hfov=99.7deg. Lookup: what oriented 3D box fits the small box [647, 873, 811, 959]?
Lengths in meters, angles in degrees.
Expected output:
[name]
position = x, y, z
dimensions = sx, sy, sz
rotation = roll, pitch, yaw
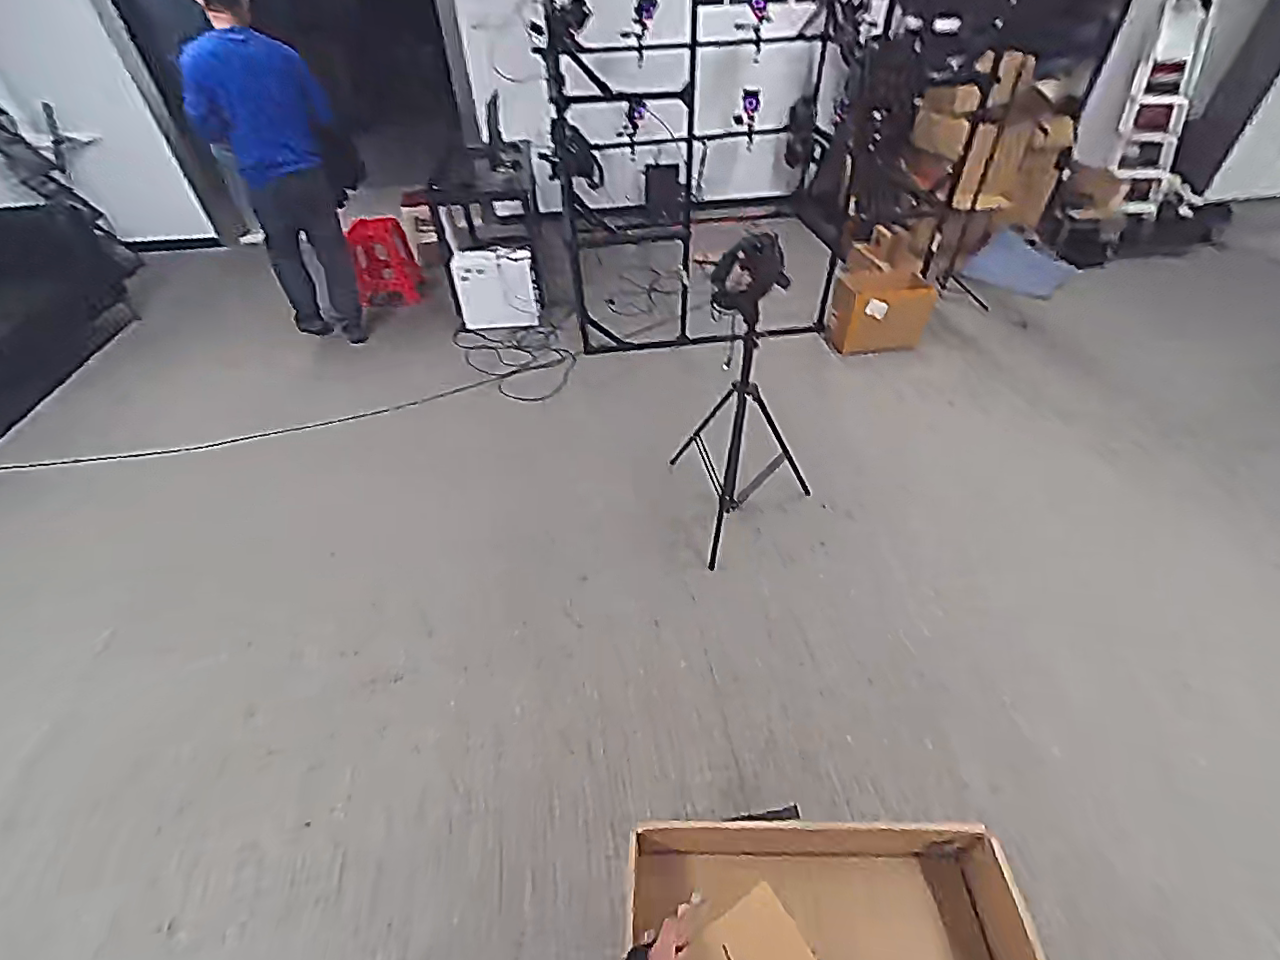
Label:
[small box]
position = 0.122, 0.615, 0.649
dimensions = 0.168, 0.176, 0.179
rotation = -29, 63, -18
